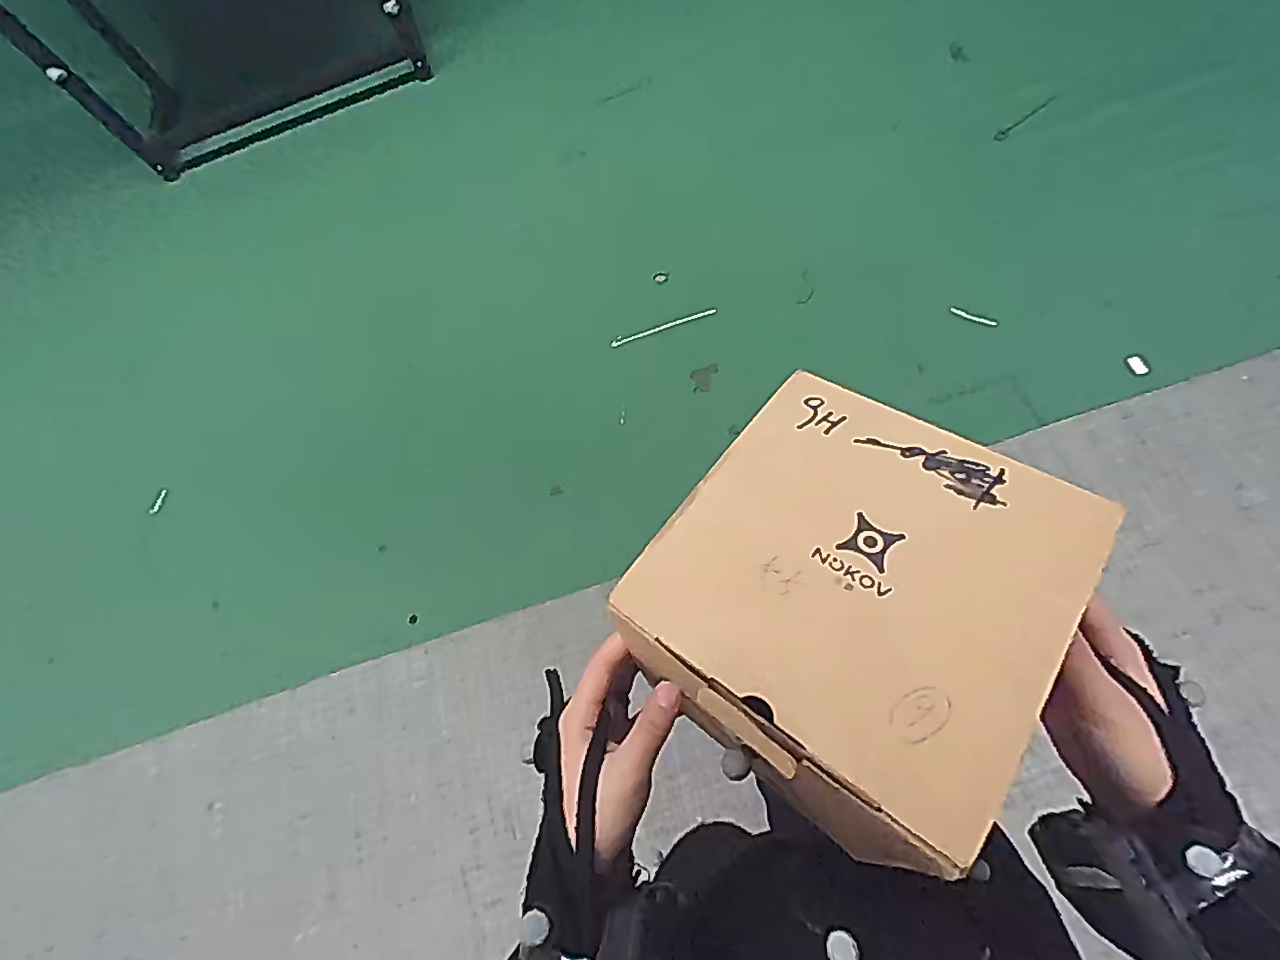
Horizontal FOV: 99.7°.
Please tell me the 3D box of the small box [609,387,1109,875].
[{"bbox_3d":[0.112,0.085,0.318,0.168,0.176,0.179,31,67,26],"label":"small box"}]
